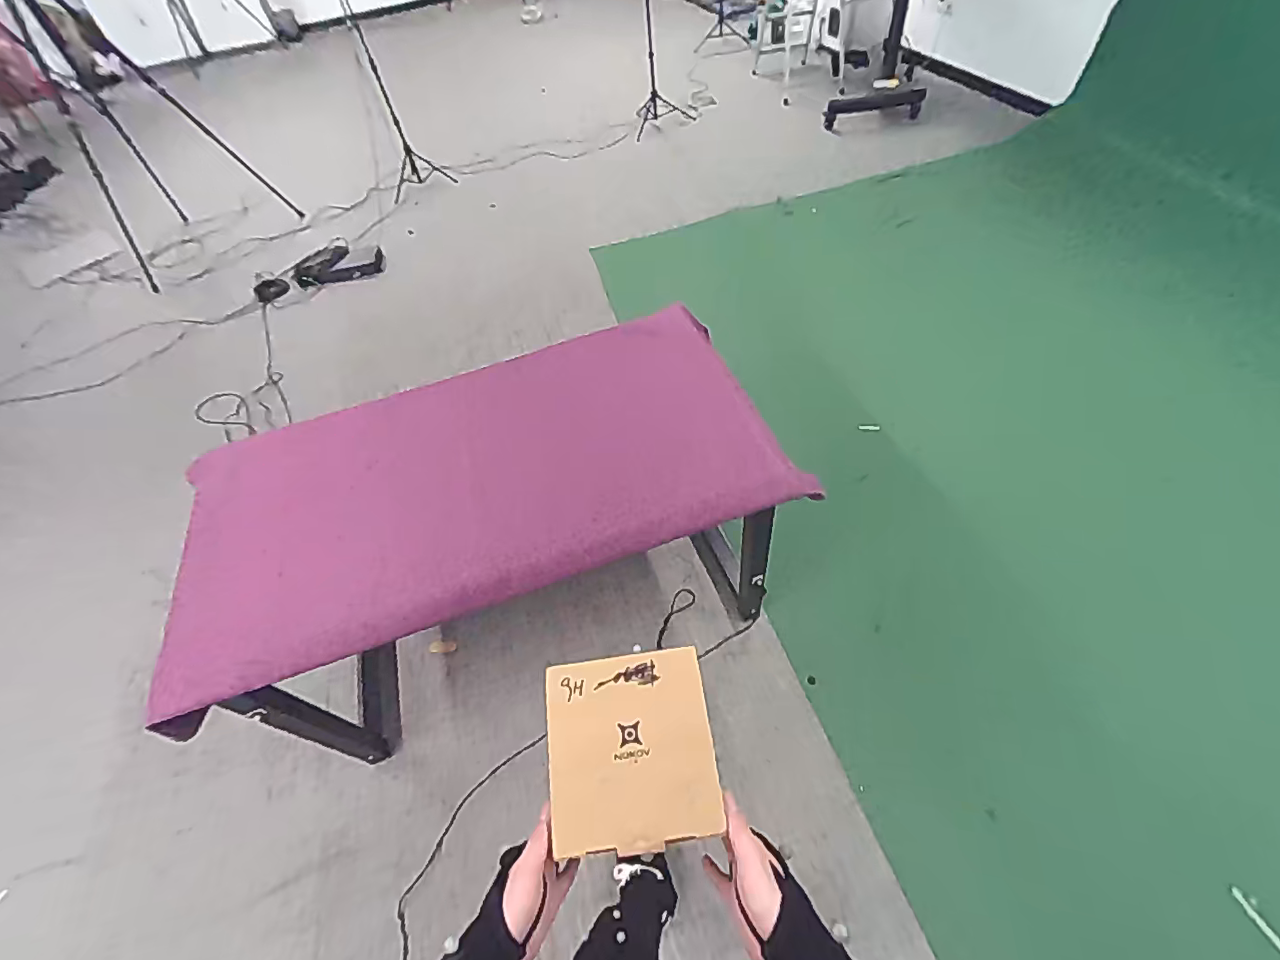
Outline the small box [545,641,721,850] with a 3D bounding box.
[{"bbox_3d":[-0.007,0.298,0.614,0.168,0.176,0.179,-8,60,-1],"label":"small box"}]
